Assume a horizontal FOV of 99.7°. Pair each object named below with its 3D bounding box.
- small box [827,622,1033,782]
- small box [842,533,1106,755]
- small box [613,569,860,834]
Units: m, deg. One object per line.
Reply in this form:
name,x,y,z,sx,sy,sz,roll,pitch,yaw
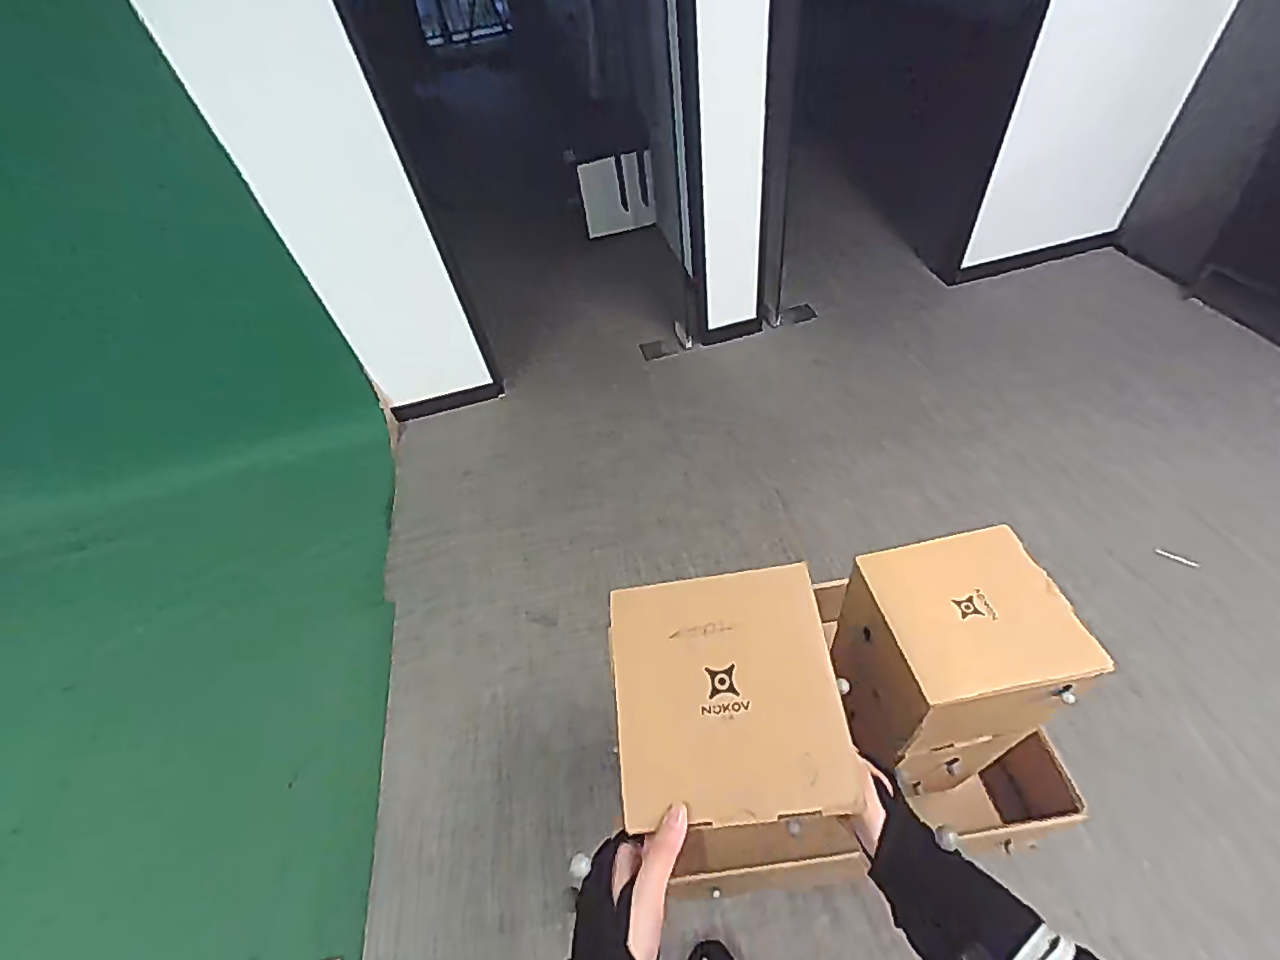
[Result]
small box,0.366,0.289,0.726,0.168,0.176,0.179,-12,50,-1
small box,0.341,0.187,0.602,0.179,0.176,0.168,-12,48,-1
small box,0.076,0.196,0.476,0.168,0.176,0.179,-8,60,6
